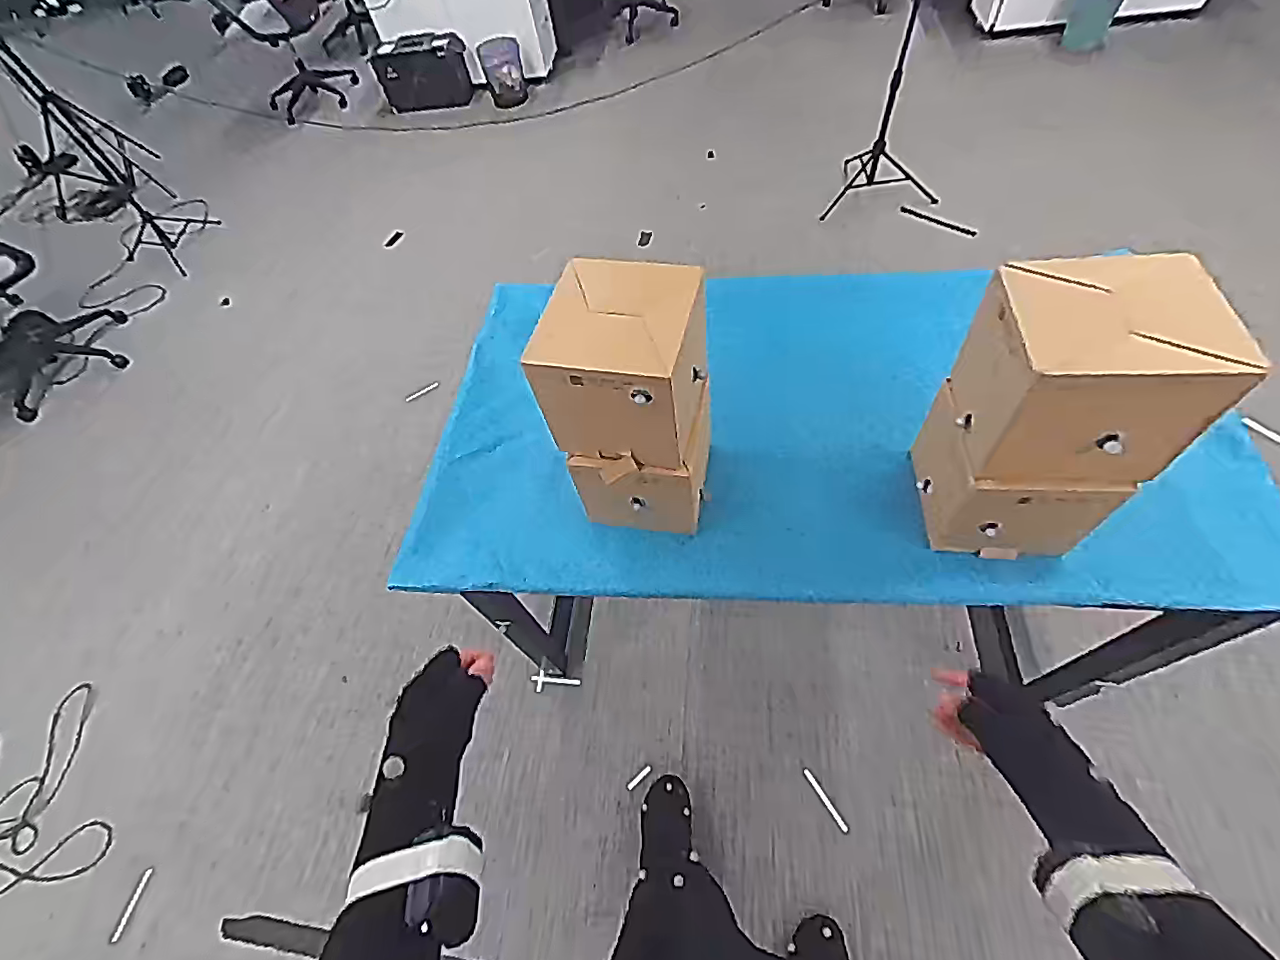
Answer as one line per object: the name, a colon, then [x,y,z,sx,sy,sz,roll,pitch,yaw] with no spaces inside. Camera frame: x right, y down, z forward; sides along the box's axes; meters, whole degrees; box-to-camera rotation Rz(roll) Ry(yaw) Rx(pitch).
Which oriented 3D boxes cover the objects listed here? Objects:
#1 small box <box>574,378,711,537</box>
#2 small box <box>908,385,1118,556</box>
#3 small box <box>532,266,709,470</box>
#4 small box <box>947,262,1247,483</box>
small box: [0.013,-0.038,0.795,0.168,0.176,0.179,6,58,11]
small box: [0.475,-0.015,0.711,0.168,0.176,0.179,1,56,9]
small box: [-0.014,-0.137,0.665,0.168,0.176,0.179,9,60,14]
small box: [0.461,-0.111,0.578,0.179,0.176,0.168,1,55,12]
